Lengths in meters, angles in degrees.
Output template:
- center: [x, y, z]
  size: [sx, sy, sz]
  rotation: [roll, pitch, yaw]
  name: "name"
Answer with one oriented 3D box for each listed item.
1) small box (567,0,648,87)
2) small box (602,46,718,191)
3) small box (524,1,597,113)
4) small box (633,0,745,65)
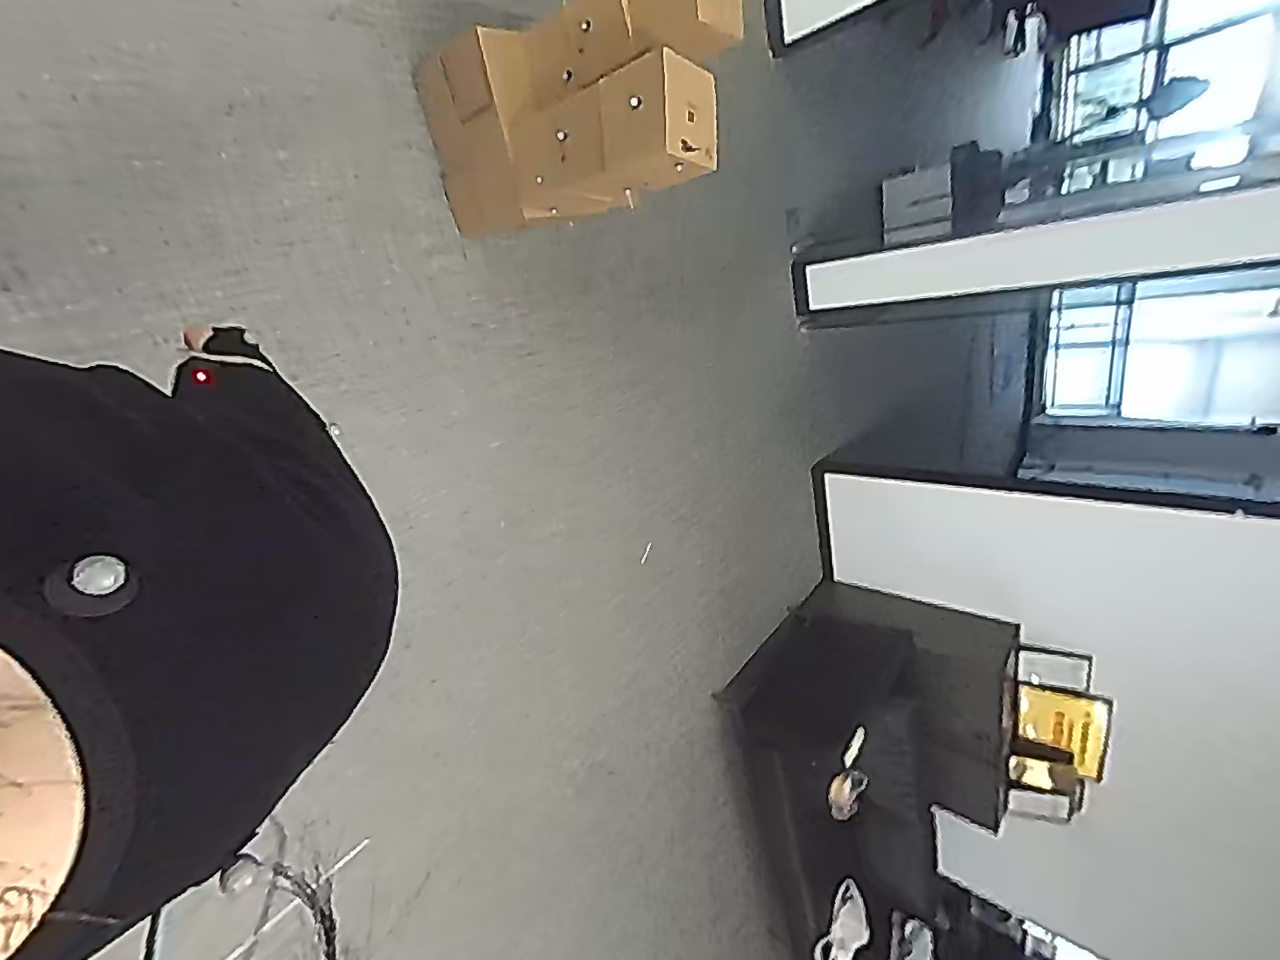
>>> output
- center: [-0.034, -1.000, 1.209]
  size: [0.179, 0.176, 0.168]
  rotation: [-32, 118, -40]
  name: "small box"
- center: [0.039, -0.711, 1.087]
  size: [0.168, 0.176, 0.179]
  rotation: [-16, 107, -45]
  name: "small box"
- center: [-0.154, -1.013, 1.319]
  size: [0.168, 0.176, 0.179]
  rotation: [-35, 120, -41]
  name: "small box"
- center: [0.094, -0.986, 1.105]
  size: [0.168, 0.176, 0.179]
  rotation: [-26, 115, -43]
  name: "small box"
